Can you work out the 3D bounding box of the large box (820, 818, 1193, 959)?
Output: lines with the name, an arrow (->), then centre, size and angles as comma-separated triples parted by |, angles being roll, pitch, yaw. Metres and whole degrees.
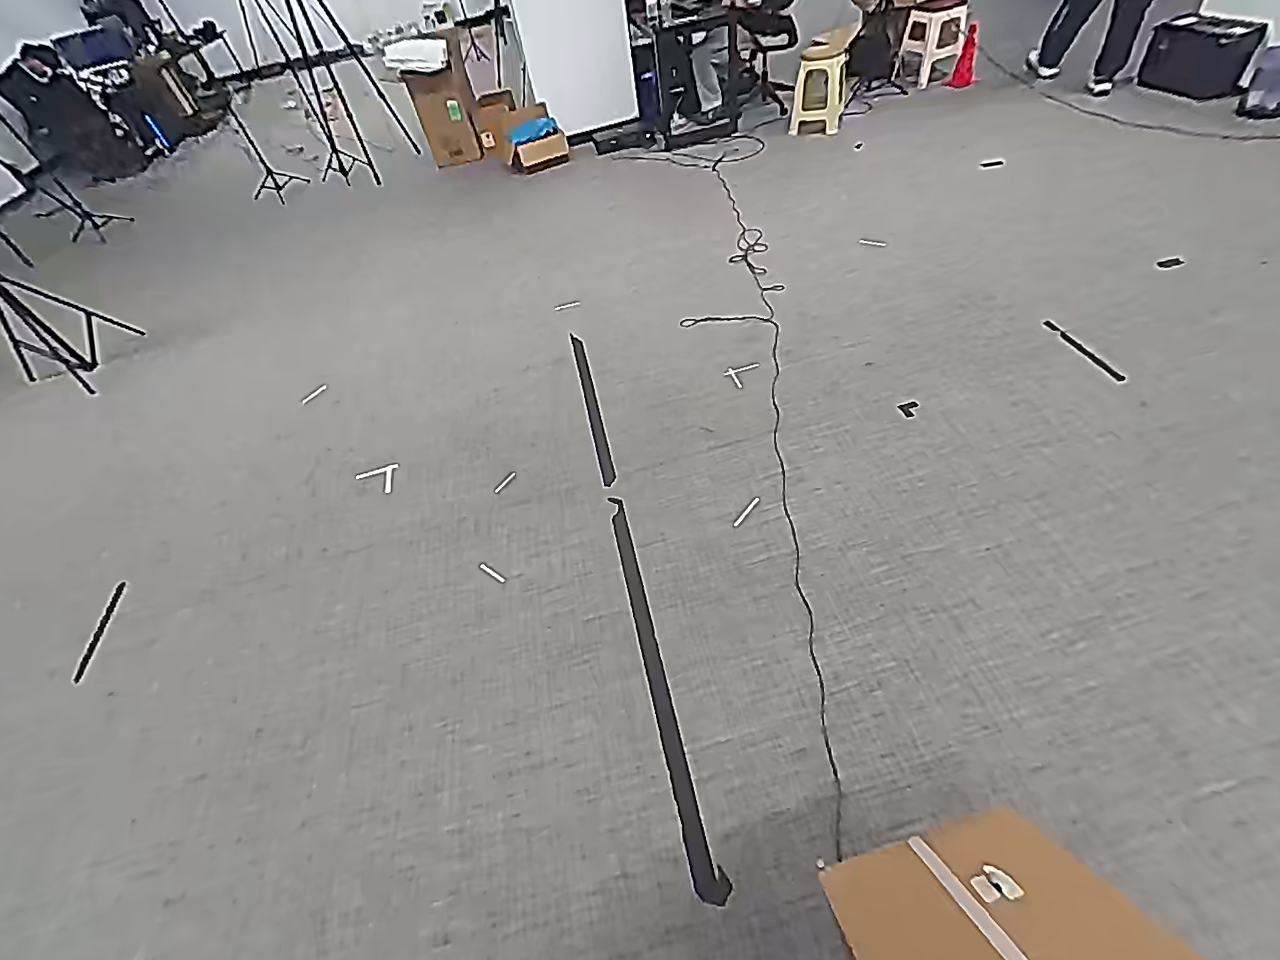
large box -> 0.463, 0.684, 0.613 | 0.320, 0.408, 0.320 | -17, 84, -1
